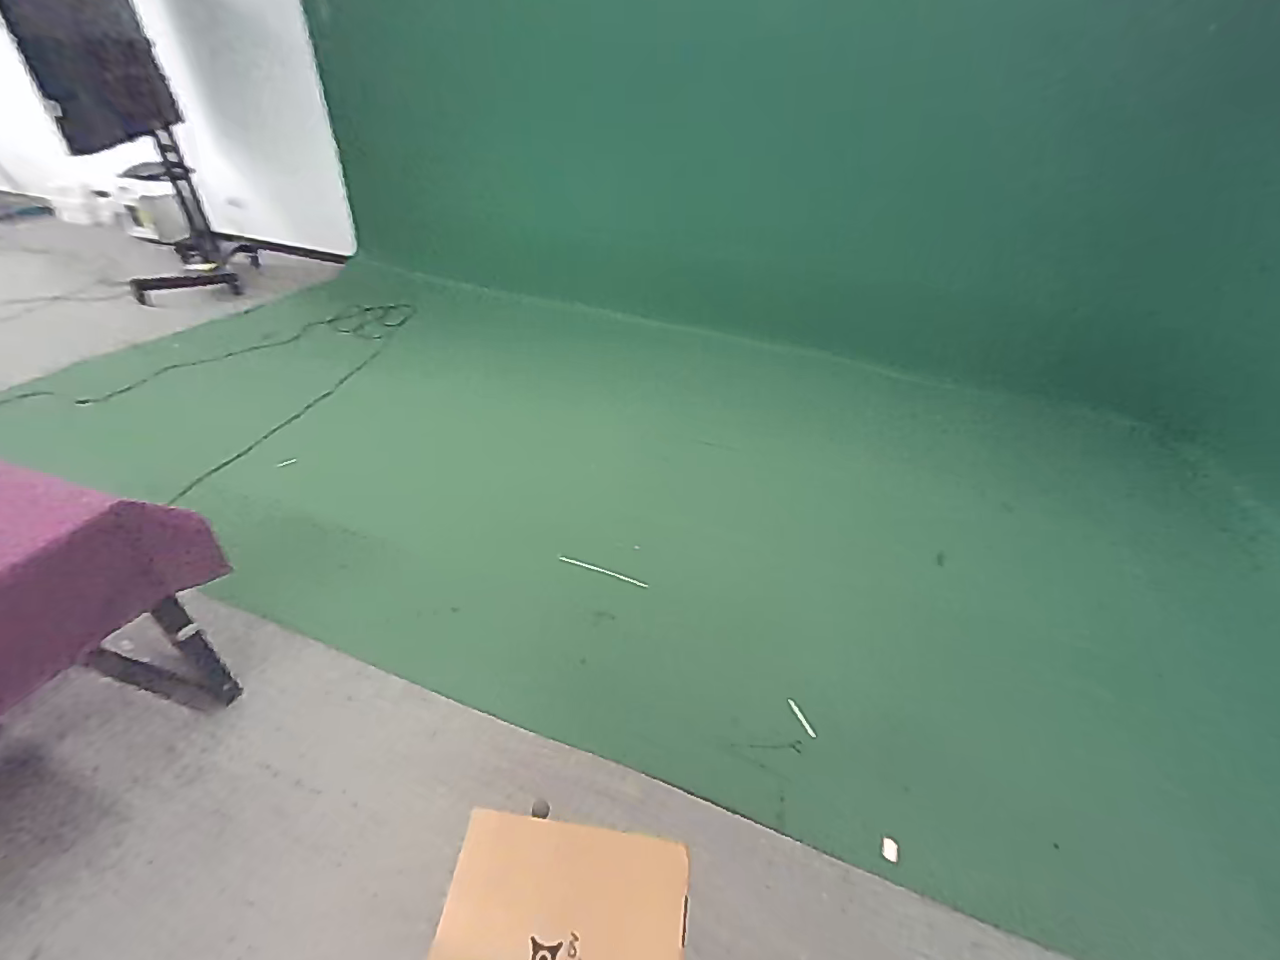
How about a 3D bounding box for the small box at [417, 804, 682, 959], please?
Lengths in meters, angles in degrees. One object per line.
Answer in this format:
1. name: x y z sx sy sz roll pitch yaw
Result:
1. small box: -0.064 0.378 0.428 0.179 0.176 0.168 6 51 6
